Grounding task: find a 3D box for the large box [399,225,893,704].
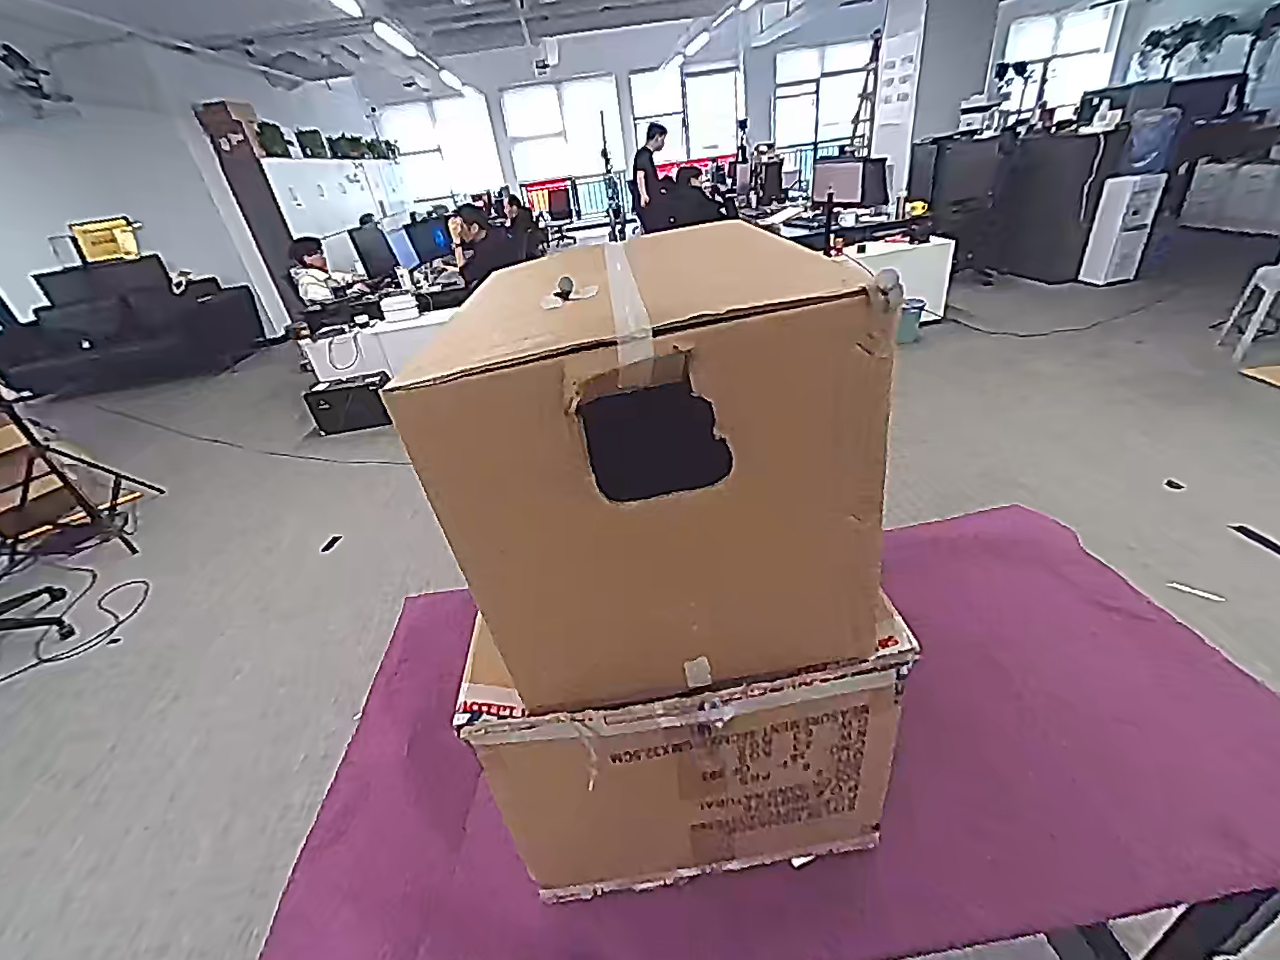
[{"bbox_3d":[0.010,-0.052,0.567,0.320,0.320,0.408,-12,31,2],"label":"large box"}]
